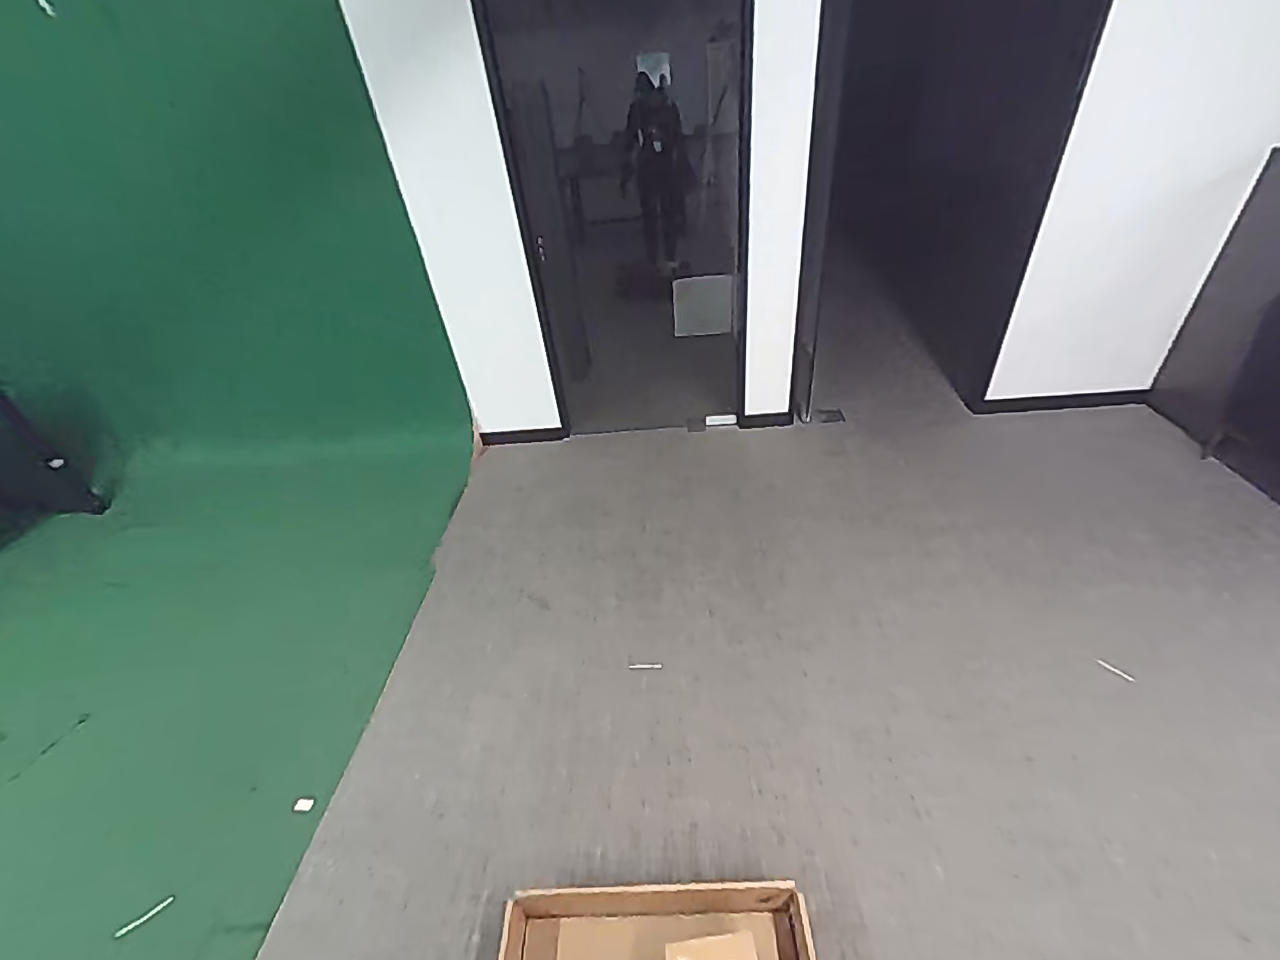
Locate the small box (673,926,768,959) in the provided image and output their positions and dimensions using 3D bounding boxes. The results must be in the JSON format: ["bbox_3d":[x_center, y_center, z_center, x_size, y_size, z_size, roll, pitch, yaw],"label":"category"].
[{"bbox_3d":[0.167,0.988,1.031,0.179,0.176,0.168,-9,38,-1],"label":"small box"}]
